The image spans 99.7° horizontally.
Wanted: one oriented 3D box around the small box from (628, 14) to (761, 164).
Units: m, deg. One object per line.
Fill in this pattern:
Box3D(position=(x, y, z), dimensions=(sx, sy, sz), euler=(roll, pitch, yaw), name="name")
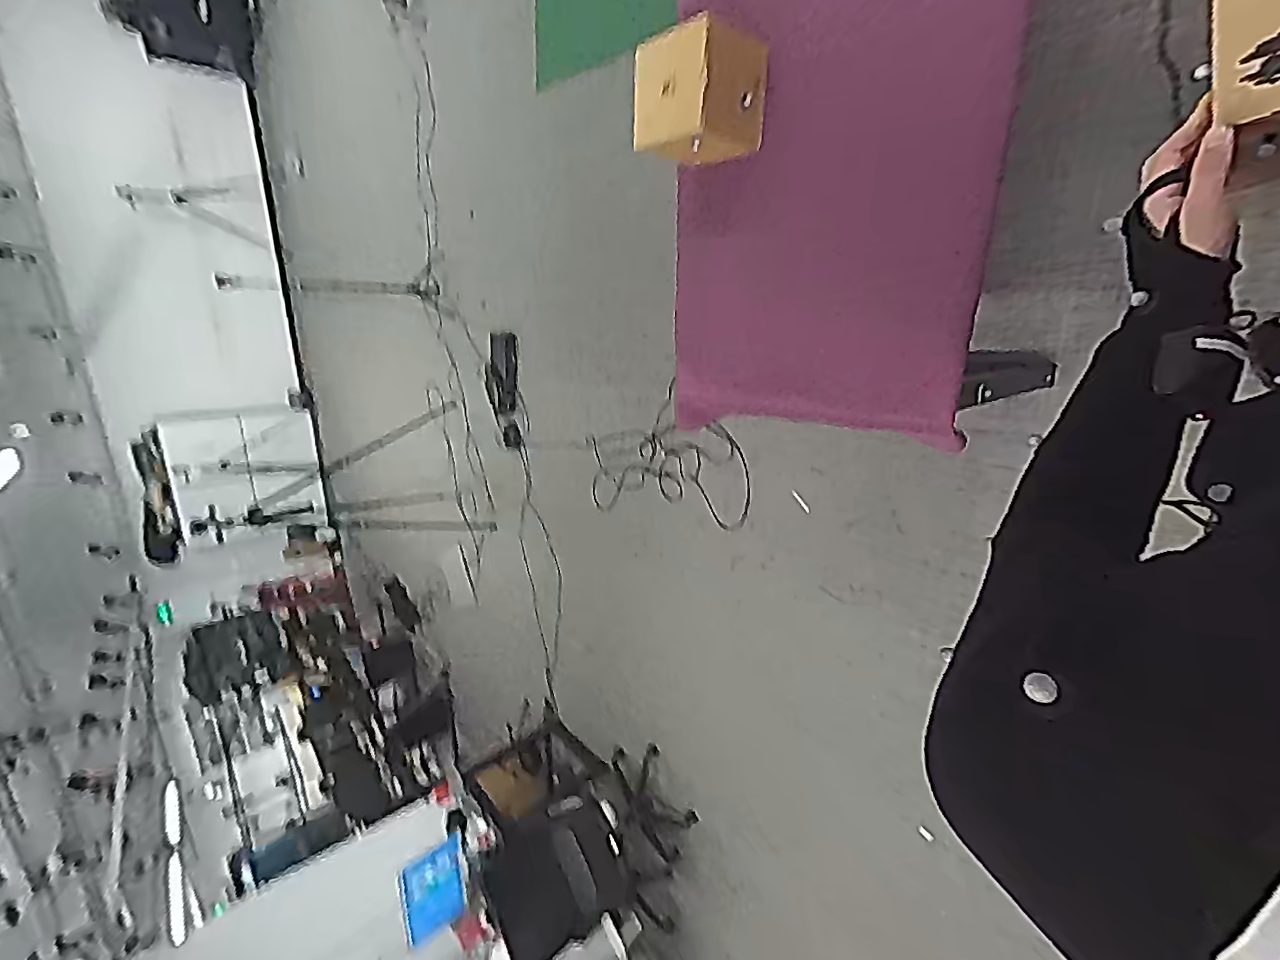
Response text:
Box3D(position=(0.098, -0.702, 0.998), dimensions=(0.179, 0.176, 0.168), euler=(18, 114, 44), name="small box")
